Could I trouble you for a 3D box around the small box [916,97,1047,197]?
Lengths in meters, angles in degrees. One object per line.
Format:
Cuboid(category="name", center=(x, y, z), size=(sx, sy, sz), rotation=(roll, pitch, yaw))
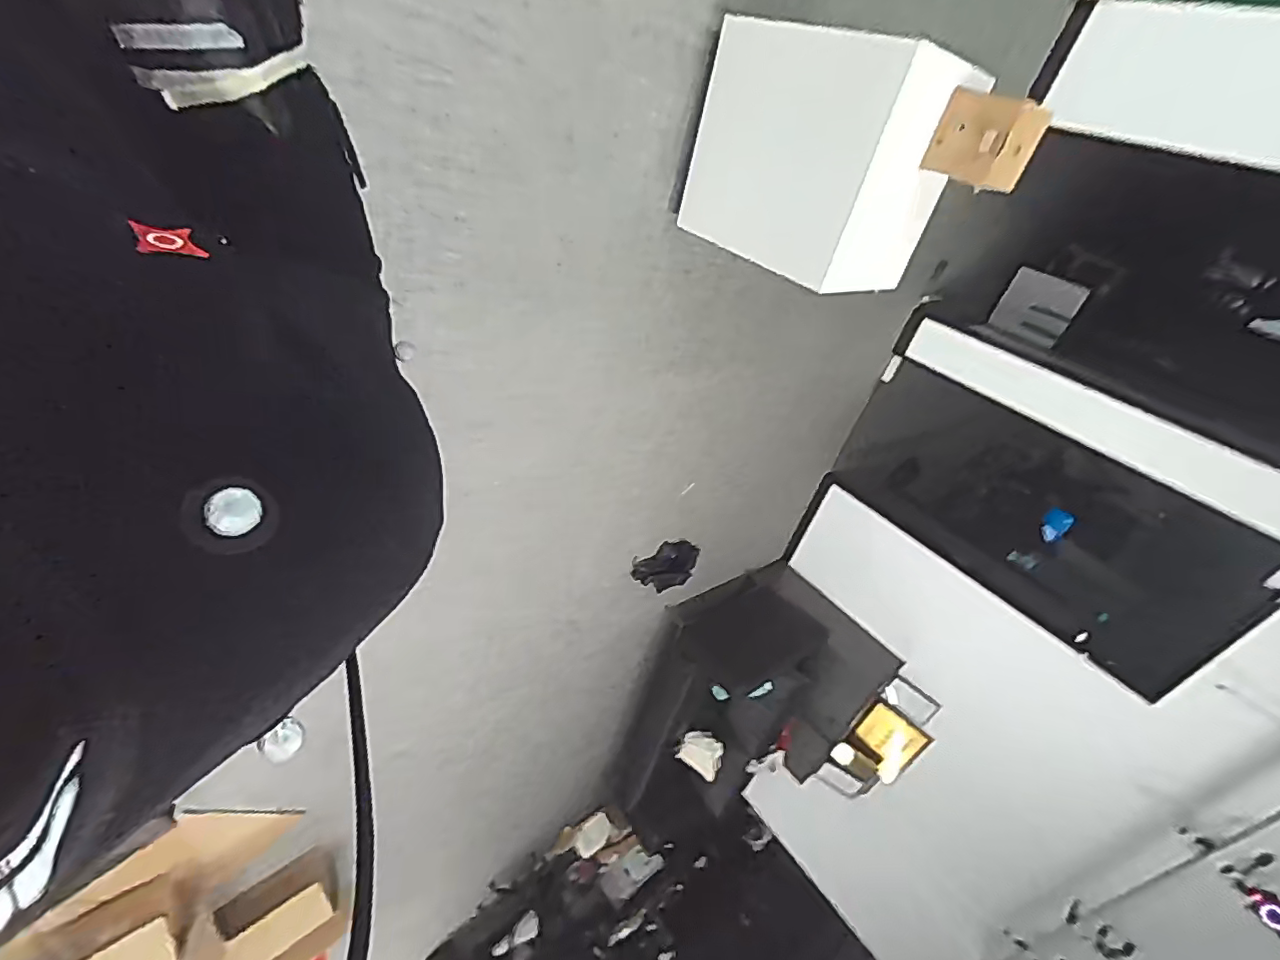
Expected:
Cuboid(category="small box", center=(0.797, -0.784, 1.275), size=(0.179, 0.176, 0.168), rotation=(-17, 136, -35))
